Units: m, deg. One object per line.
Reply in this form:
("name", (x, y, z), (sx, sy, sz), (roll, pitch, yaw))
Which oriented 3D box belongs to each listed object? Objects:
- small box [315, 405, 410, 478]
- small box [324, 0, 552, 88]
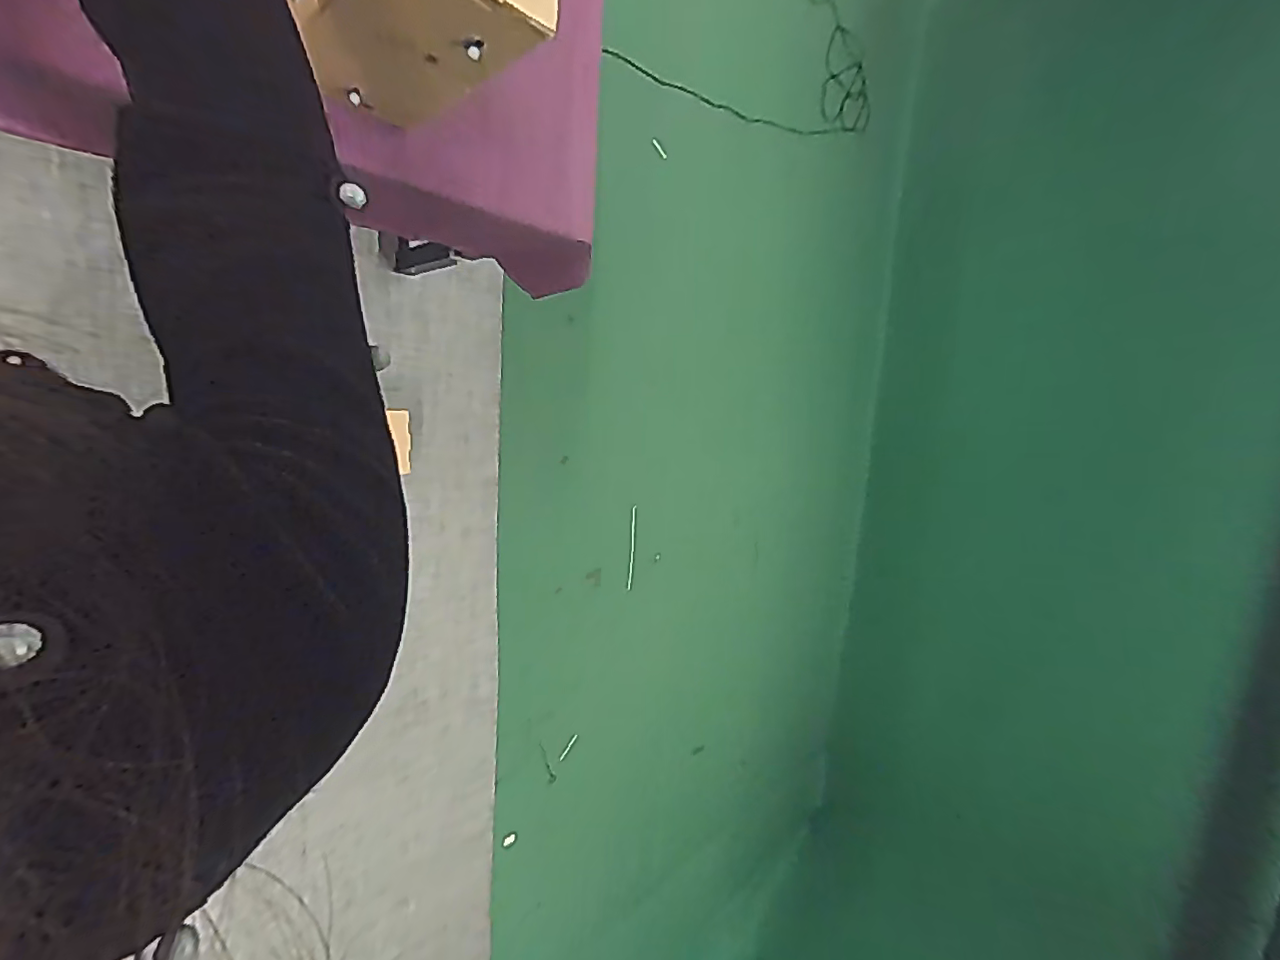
("small box", (-0.714, -0.103, 1.384), (0.179, 0.176, 0.168), (-9, 105, -47))
("small box", (-0.198, -0.524, 0.520), (0.168, 0.176, 0.179), (-6, 102, -47))
